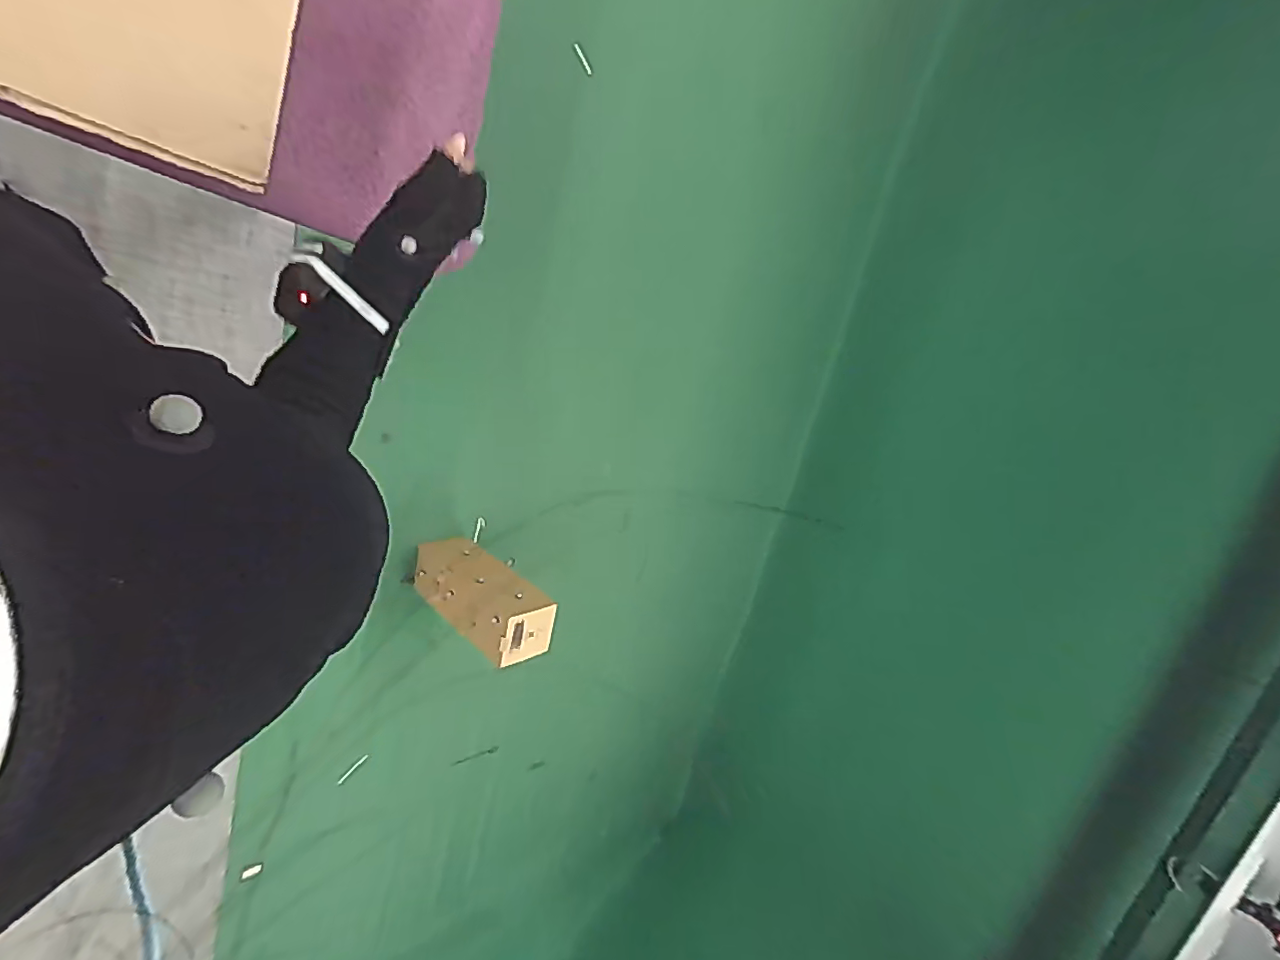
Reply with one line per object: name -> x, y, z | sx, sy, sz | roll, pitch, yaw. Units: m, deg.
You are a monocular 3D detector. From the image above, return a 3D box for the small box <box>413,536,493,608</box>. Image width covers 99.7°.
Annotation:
small box -> -0.618, 0.294, 1.786 | 0.179, 0.176, 0.168 | -3, 112, -50

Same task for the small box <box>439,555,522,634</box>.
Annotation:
small box -> -0.499, 0.348, 1.690 | 0.179, 0.176, 0.168 | -5, 114, -48
